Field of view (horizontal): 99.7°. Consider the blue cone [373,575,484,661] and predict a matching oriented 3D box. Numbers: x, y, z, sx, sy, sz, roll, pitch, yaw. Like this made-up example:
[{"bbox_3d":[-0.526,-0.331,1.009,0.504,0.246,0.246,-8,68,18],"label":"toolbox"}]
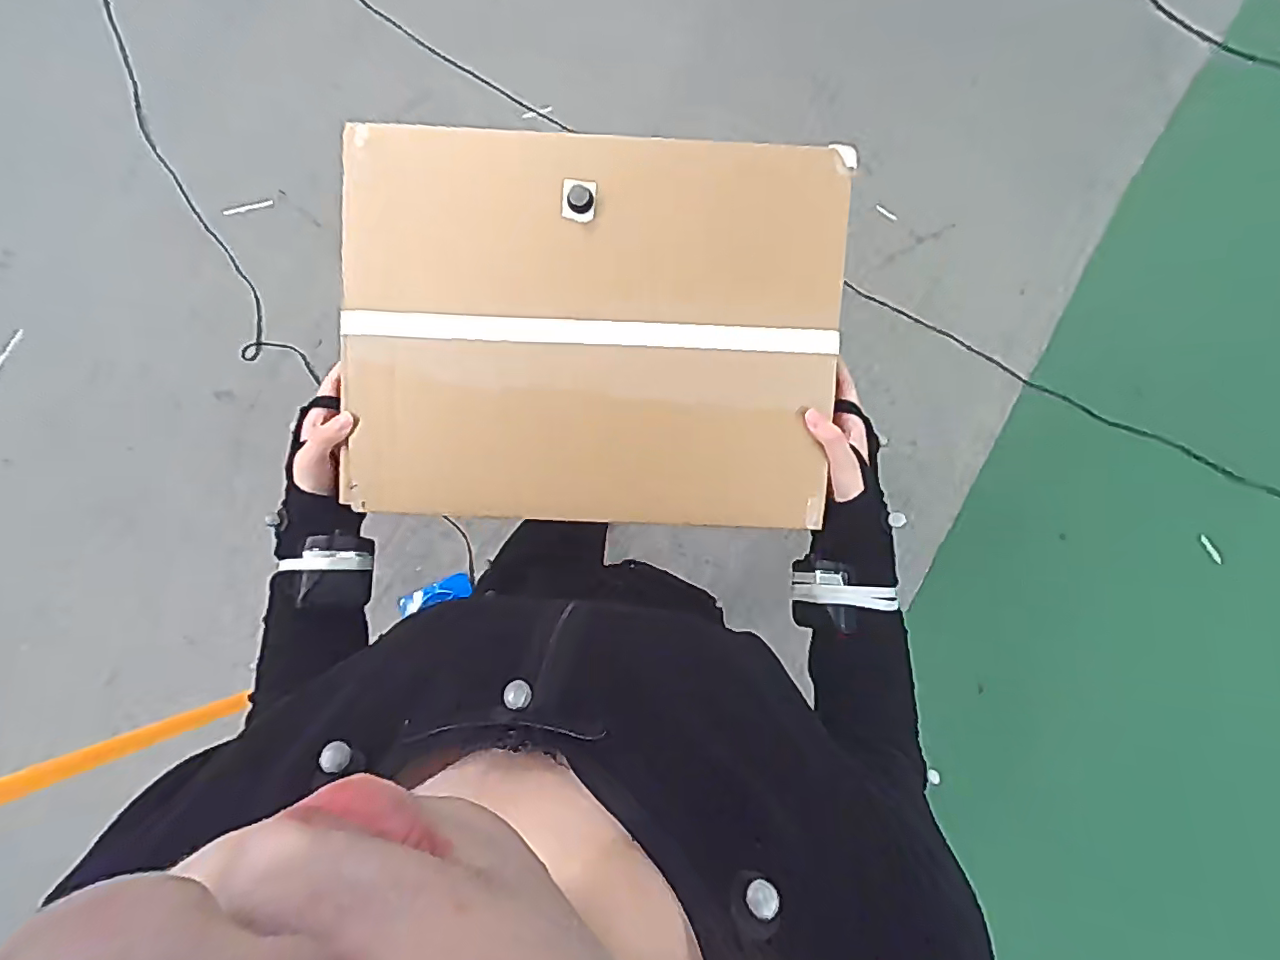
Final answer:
[{"bbox_3d":[-0.521,0.356,1.282,0.192,0.380,0.193,-25,88,-3],"label":"blue cone"}]
